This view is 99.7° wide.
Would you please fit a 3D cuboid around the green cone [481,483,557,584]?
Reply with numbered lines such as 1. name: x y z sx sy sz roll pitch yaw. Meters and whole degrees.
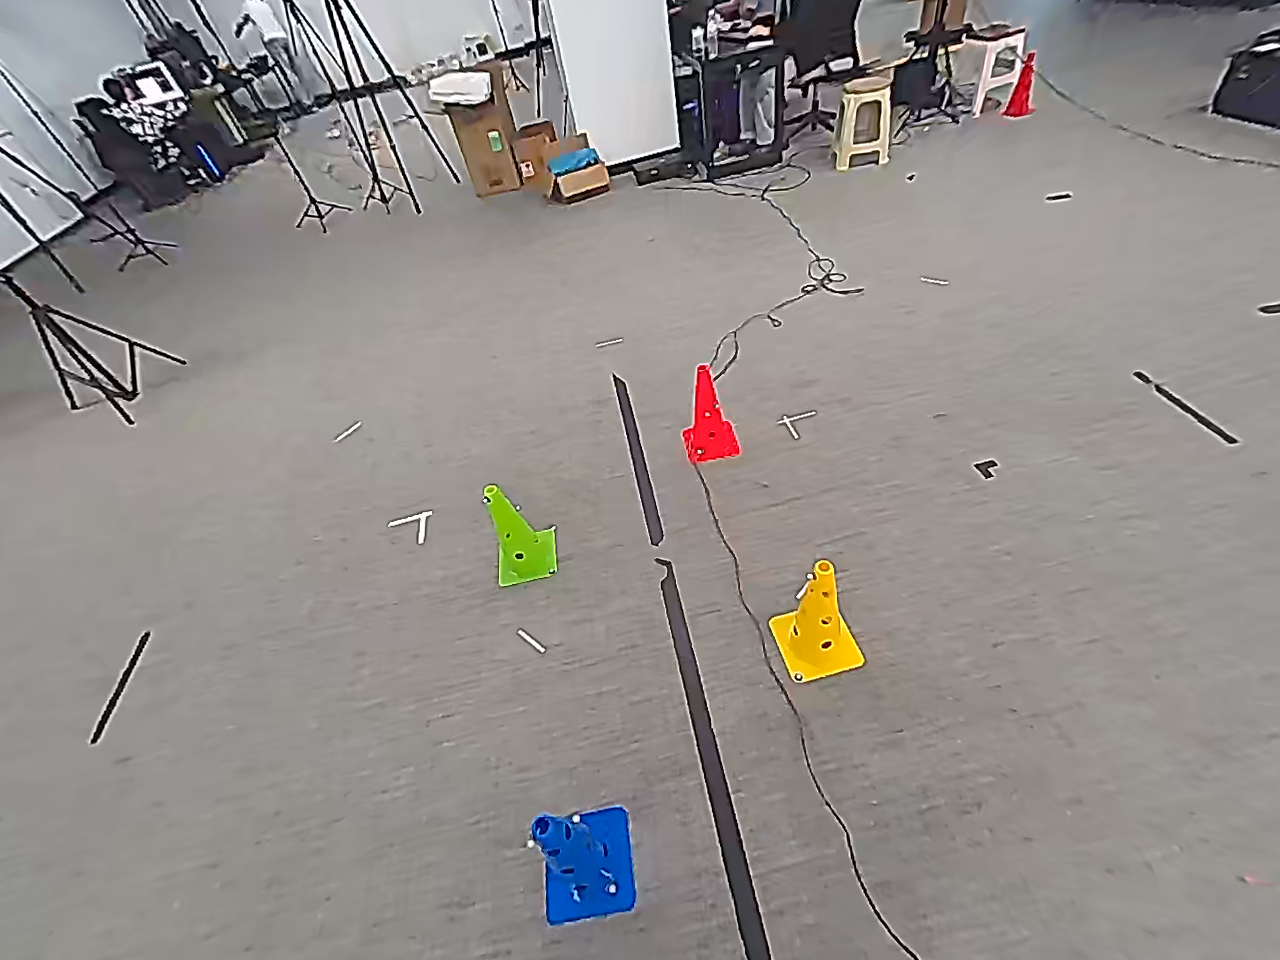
1. green cone: -0.417 0.139 1.739 0.202 0.368 0.200 -14 45 1

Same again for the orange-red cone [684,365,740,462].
1. orange-red cone: 0.249 -0.266 1.976 0.199 0.360 0.198 -10 47 3

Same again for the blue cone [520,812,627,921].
1. blue cone: -0.156 0.753 1.107 0.192 0.380 0.193 -12 45 4
